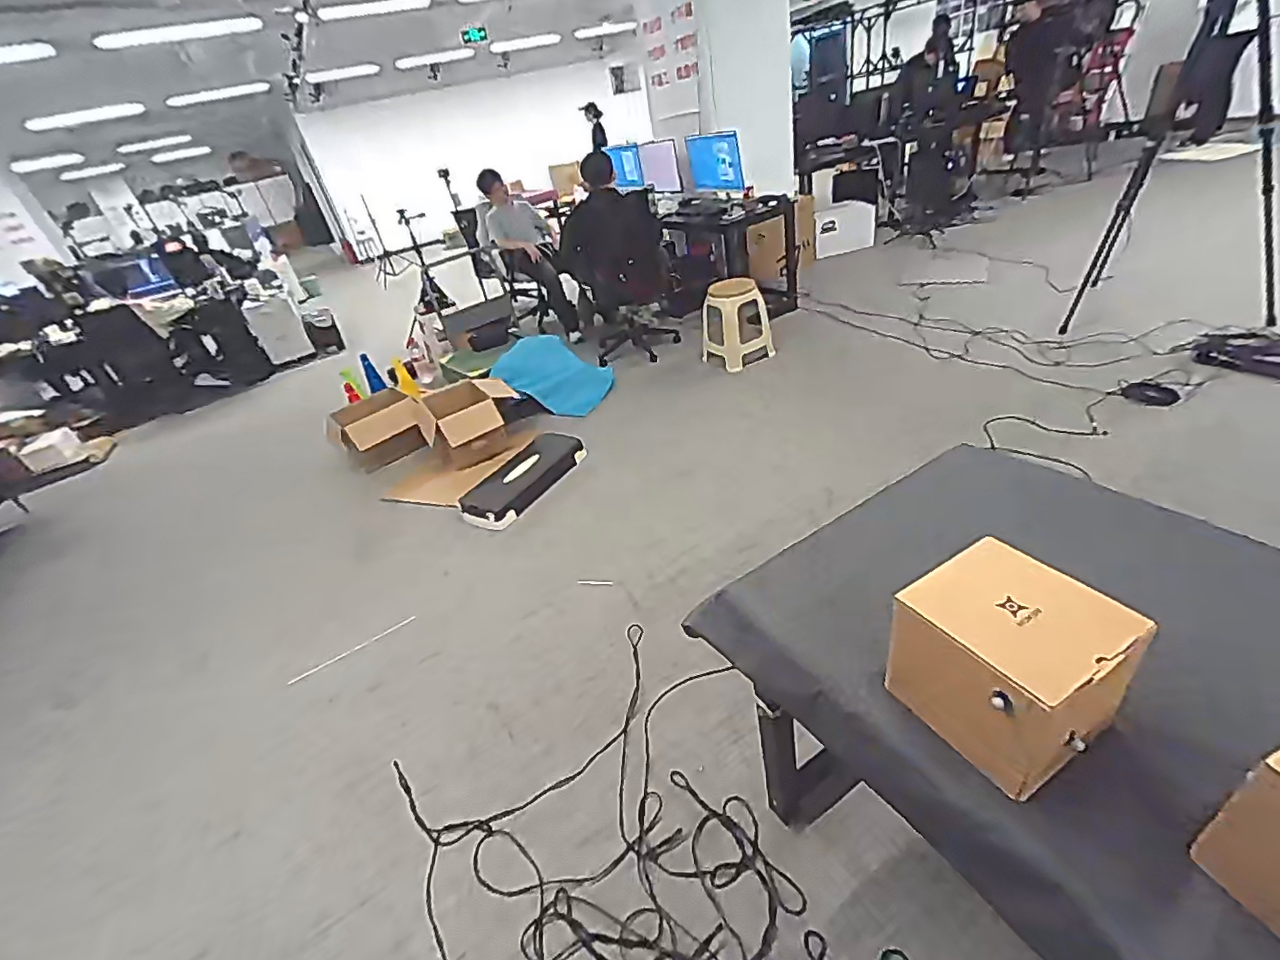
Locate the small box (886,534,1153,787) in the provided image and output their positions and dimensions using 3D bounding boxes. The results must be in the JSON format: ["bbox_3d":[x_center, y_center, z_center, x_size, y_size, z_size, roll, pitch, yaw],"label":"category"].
[{"bbox_3d":[0.407,0.198,0.615,0.168,0.176,0.179,-24,36,-18],"label":"small box"}]

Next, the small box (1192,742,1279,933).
[{"bbox_3d":[0.596,0.294,0.407,0.168,0.176,0.179,-19,33,-11],"label":"small box"}]
